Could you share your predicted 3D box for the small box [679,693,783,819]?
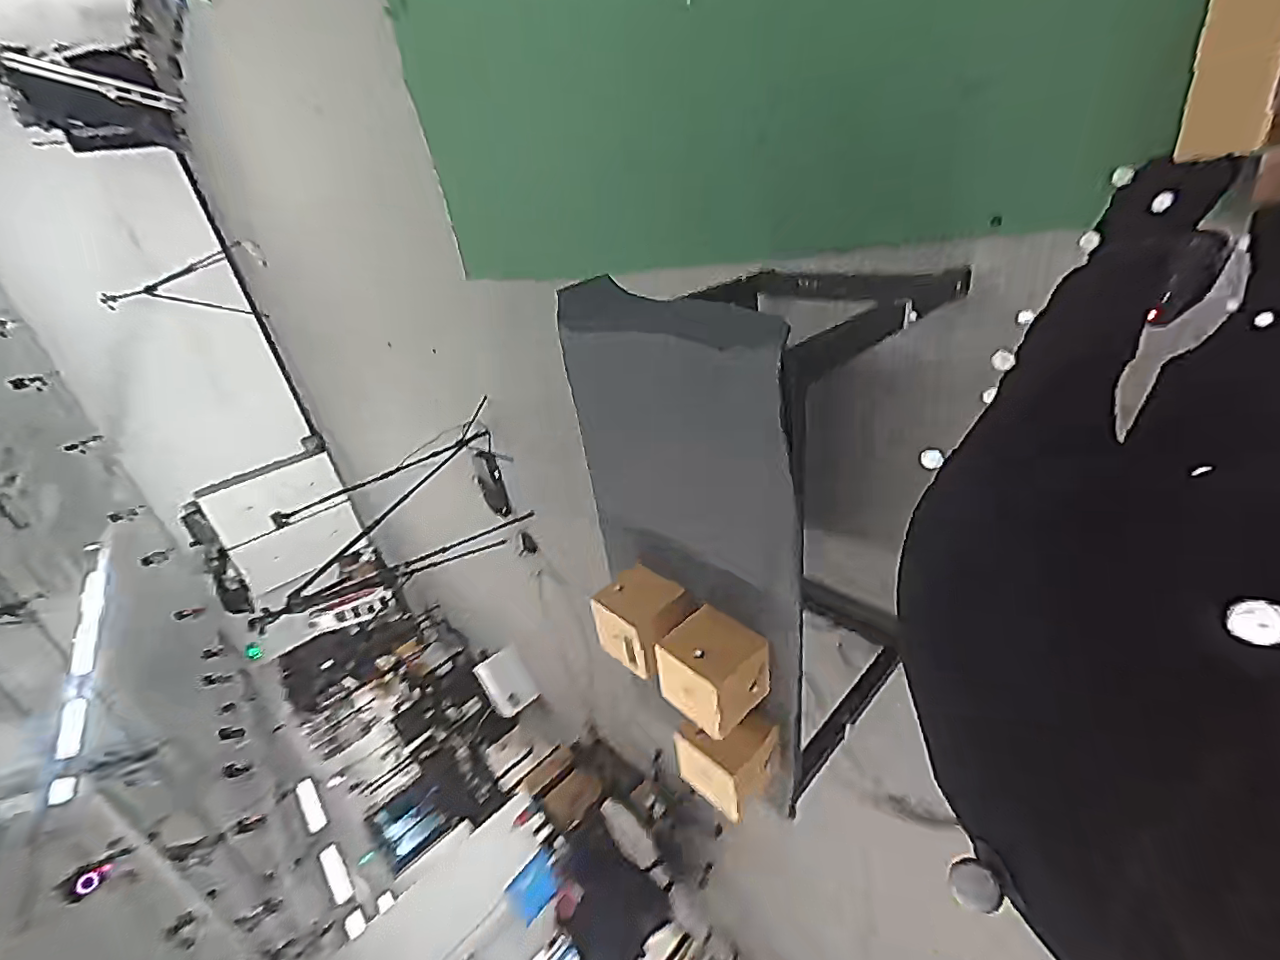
[{"bbox_3d":[0.217,0.641,1.282,0.179,0.176,0.168,20,129,44],"label":"small box"}]
